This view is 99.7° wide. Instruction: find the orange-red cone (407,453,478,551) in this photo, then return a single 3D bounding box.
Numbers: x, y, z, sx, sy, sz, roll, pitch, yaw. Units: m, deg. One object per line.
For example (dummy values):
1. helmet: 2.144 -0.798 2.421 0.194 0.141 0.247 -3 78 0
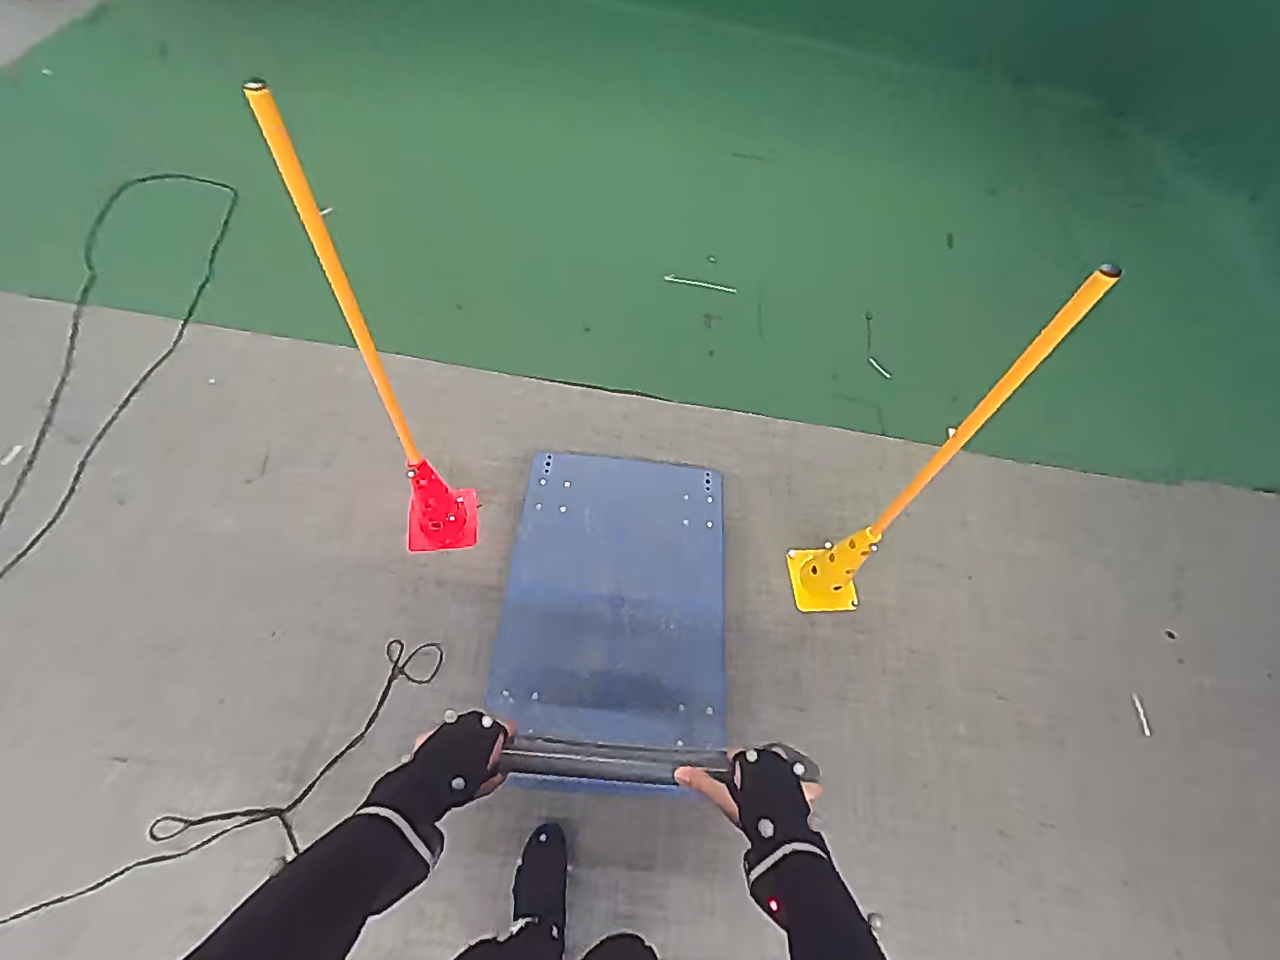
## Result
1. orange-red cone: -0.582 0.037 1.495 0.199 0.360 0.198 -4 61 -8
